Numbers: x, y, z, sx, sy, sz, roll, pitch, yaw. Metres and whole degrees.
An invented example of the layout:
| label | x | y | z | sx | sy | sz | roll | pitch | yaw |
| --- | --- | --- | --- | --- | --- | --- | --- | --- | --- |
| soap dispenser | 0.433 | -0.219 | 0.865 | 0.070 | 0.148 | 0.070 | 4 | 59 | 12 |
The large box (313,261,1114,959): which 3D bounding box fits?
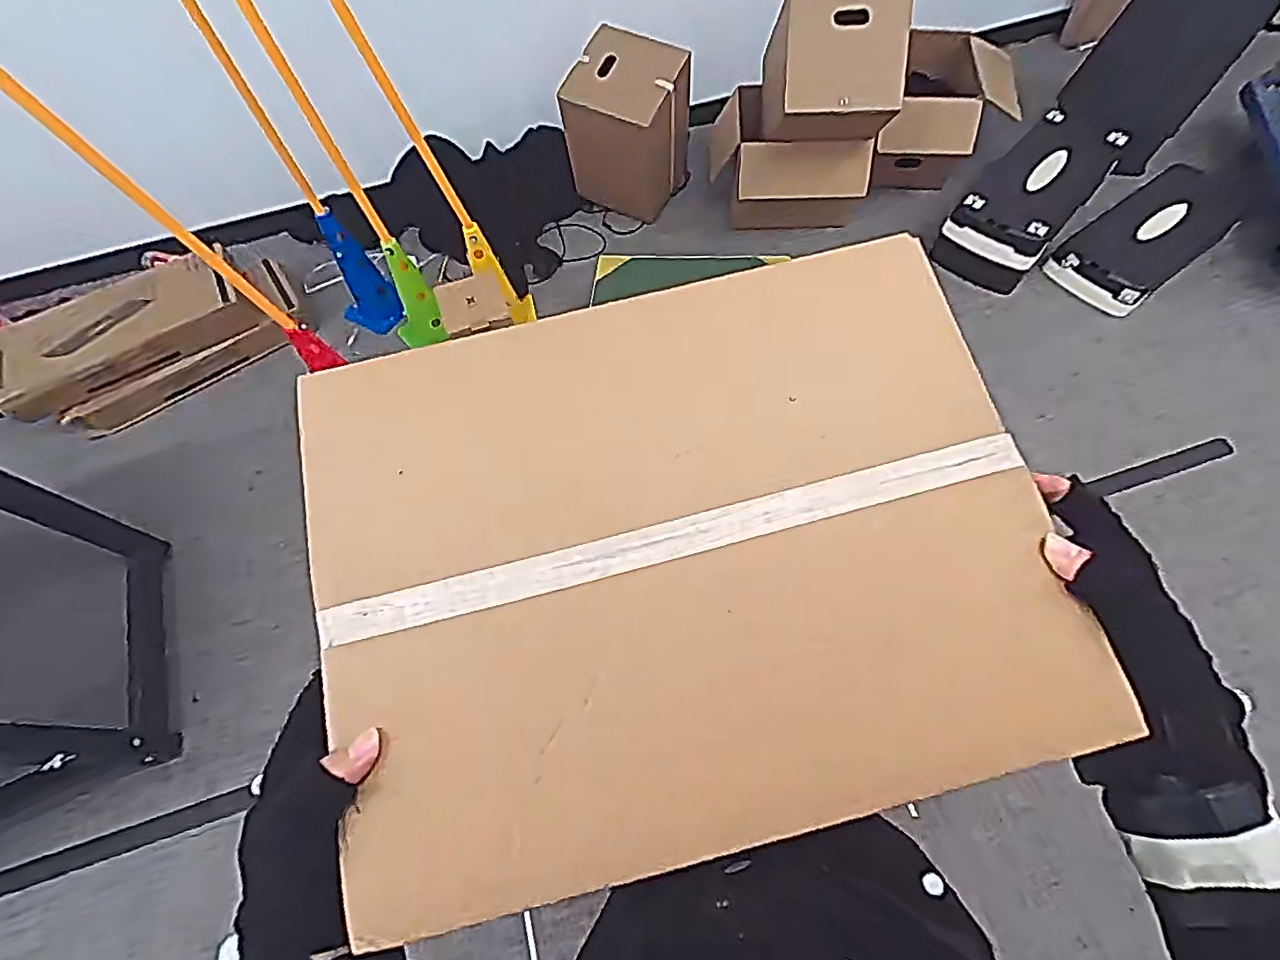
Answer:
| label | x | y | z | sx | sy | sz | roll | pitch | yaw |
| --- | --- | --- | --- | --- | --- | --- | --- | --- | --- |
| large box | 0.027 | 0.084 | 0.455 | 0.408 | 0.320 | 0.320 | -15 | 74 | -2 |
